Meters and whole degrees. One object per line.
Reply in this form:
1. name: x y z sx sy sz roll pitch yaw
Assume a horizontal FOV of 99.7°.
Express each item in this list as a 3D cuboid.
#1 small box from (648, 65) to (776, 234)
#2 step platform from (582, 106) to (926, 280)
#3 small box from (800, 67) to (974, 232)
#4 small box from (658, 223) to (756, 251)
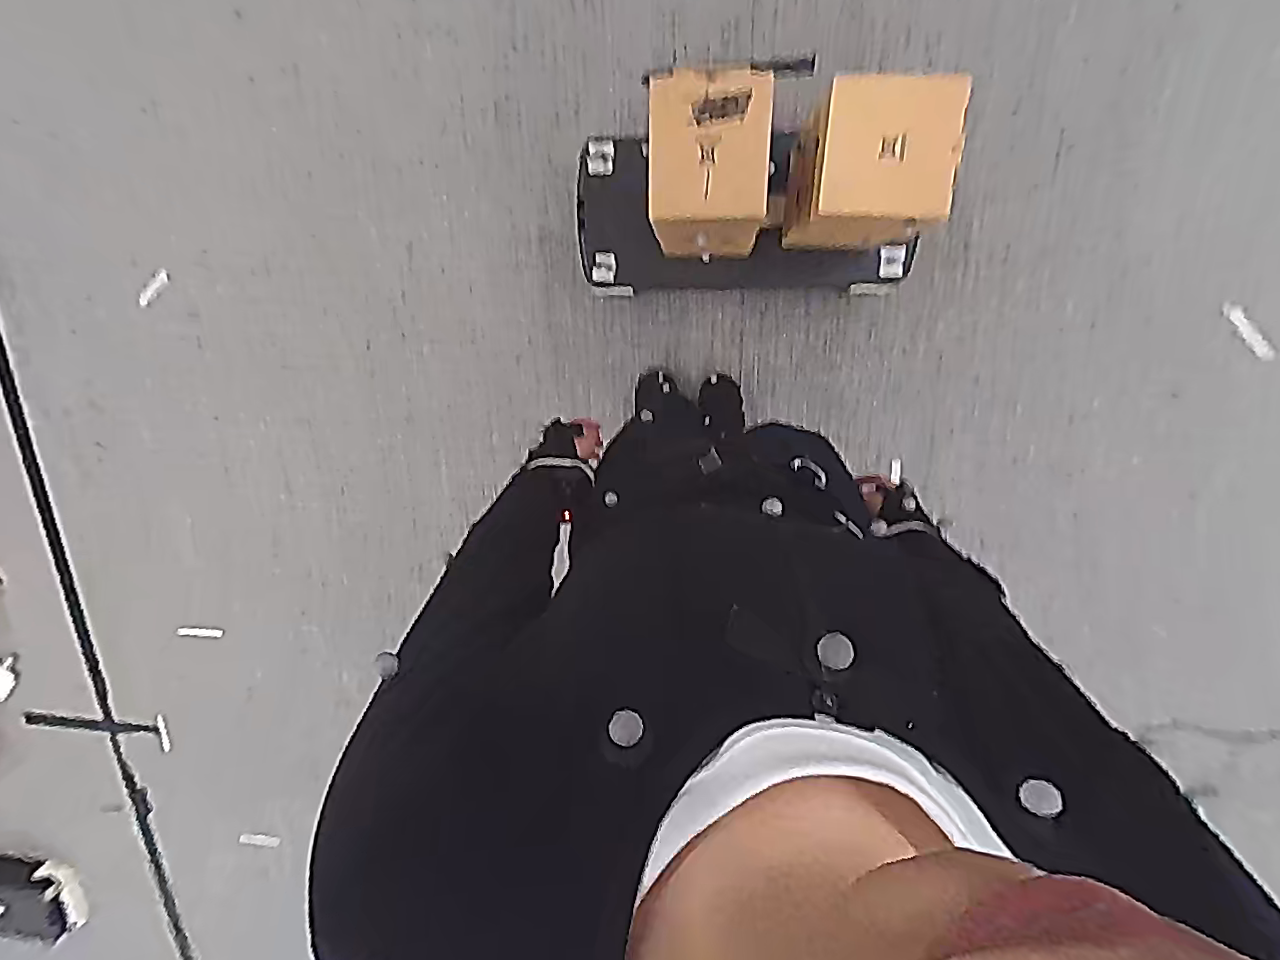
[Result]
1. small box: 0.102 -0.477 0.804 0.168 0.176 0.179 2 106 6
2. step platform: 0.223 -0.576 1.115 0.684 0.204 0.286 1 105 7
3. small box: 0.339 -0.464 0.783 0.179 0.176 0.168 4 106 5
4. small box: 0.122 -0.516 0.963 0.168 0.176 0.179 3 106 6
